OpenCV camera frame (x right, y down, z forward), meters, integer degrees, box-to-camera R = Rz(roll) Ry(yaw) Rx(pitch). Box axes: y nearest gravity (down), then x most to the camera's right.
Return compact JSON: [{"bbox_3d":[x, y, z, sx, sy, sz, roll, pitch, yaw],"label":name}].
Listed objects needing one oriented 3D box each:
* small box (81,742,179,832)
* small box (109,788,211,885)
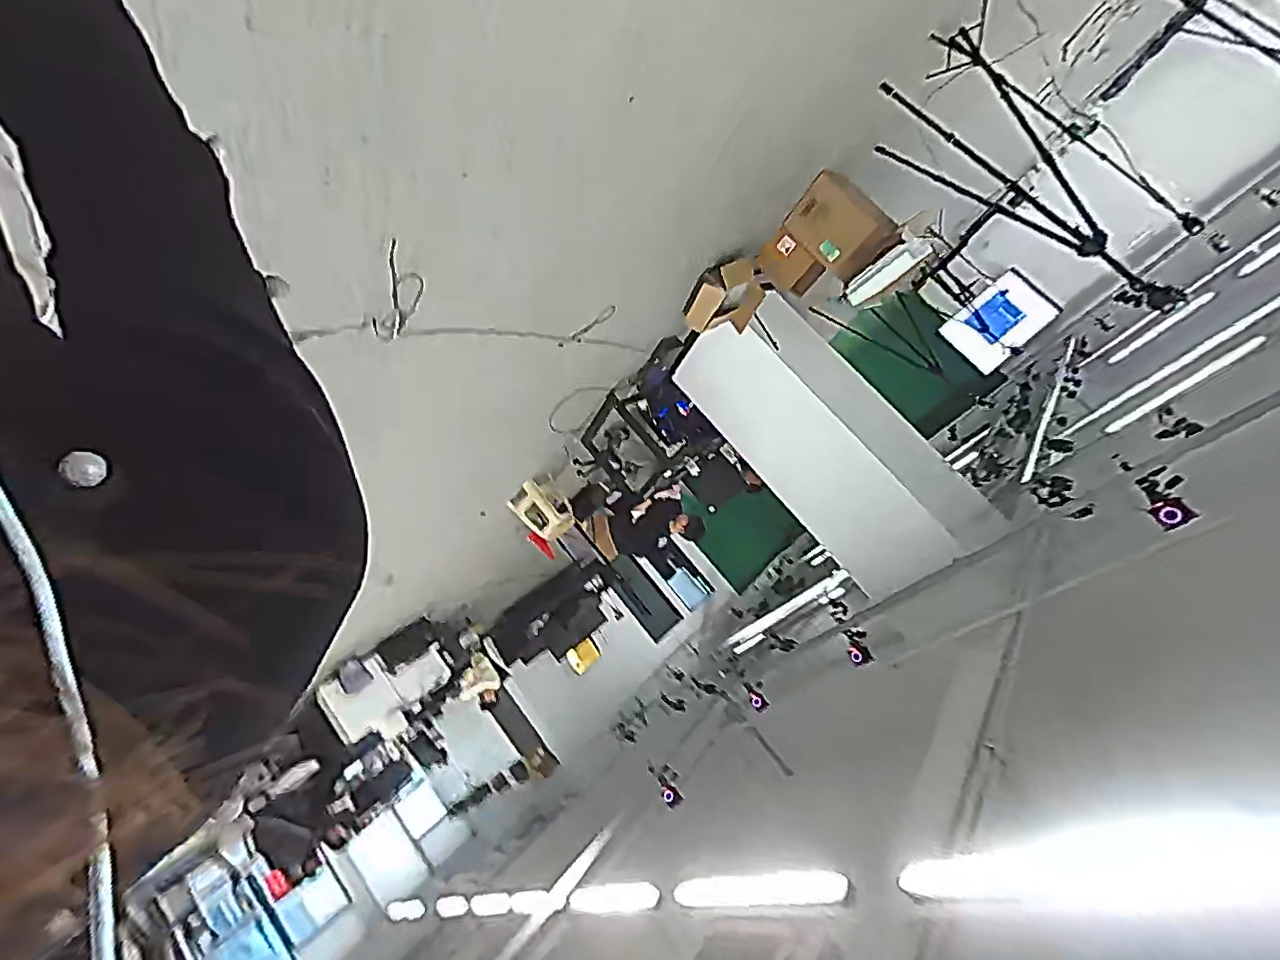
[{"bbox_3d":[-1.504,0.912,1.602,0.168,0.176,0.179,-28,163,-48],"label":"small box"},{"bbox_3d":[-1.400,1.038,1.581,0.168,0.176,0.179,-30,165,-43],"label":"small box"}]
